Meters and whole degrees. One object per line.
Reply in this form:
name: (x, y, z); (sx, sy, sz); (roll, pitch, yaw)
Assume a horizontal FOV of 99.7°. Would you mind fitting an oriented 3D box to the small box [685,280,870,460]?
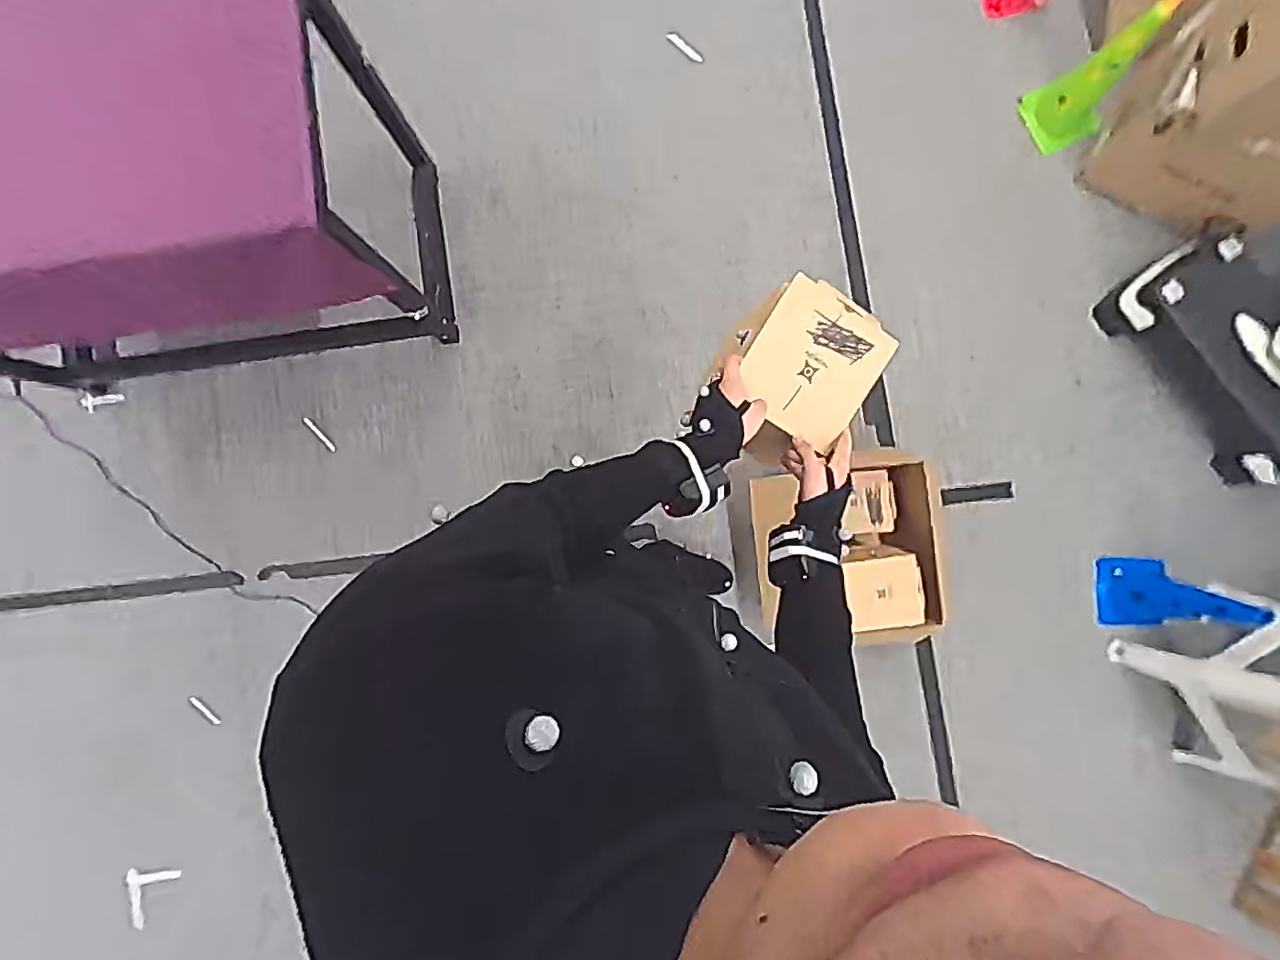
small box: (0.186, -0.145, 0.781); (0.168, 0.176, 0.179); (30, 81, -10)
